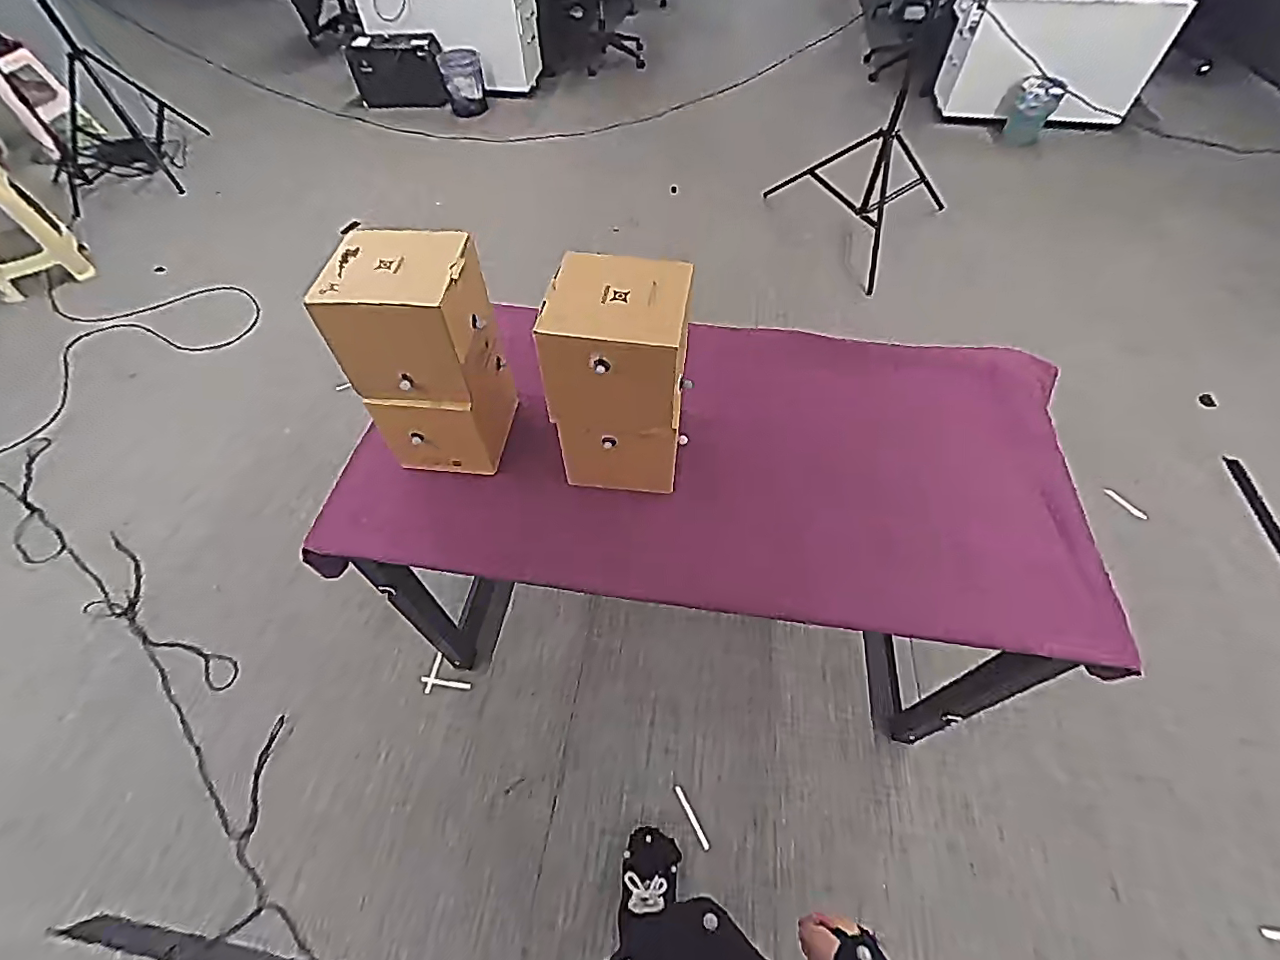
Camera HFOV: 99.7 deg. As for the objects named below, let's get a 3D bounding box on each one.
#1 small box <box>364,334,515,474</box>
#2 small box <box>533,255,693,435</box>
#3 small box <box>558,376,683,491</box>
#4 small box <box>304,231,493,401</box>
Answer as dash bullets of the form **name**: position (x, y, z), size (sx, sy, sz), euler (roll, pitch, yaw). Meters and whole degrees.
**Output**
- **small box**: position (-0.318, -0.127, 0.902), size (0.168, 0.176, 0.179), euler (4, 54, 3)
- **small box**: position (-0.029, -0.179, 0.737), size (0.179, 0.176, 0.168), euler (8, 56, 4)
- **small box**: position (-0.026, -0.096, 0.877), size (0.179, 0.176, 0.168), euler (6, 55, 3)
- **small box**: position (-0.323, -0.228, 0.773), size (0.179, 0.176, 0.168), euler (3, 54, 2)
